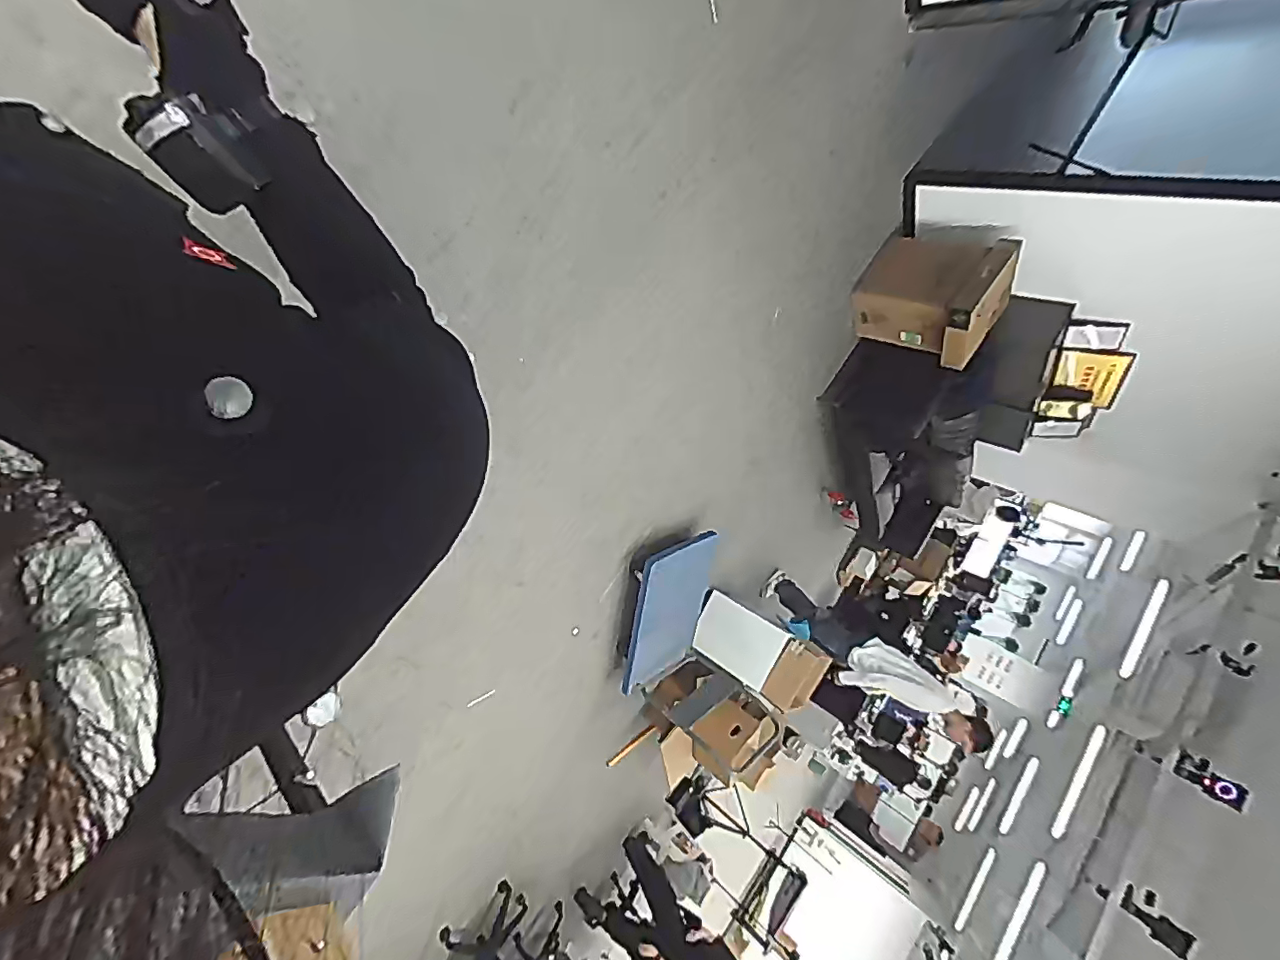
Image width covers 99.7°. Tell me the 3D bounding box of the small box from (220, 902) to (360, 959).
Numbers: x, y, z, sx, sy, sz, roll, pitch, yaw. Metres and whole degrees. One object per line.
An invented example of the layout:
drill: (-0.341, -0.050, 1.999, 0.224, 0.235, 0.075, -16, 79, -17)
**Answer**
small box: (-0.655, 0.913, 0.978, 0.168, 0.176, 0.179, -54, 144, -12)
